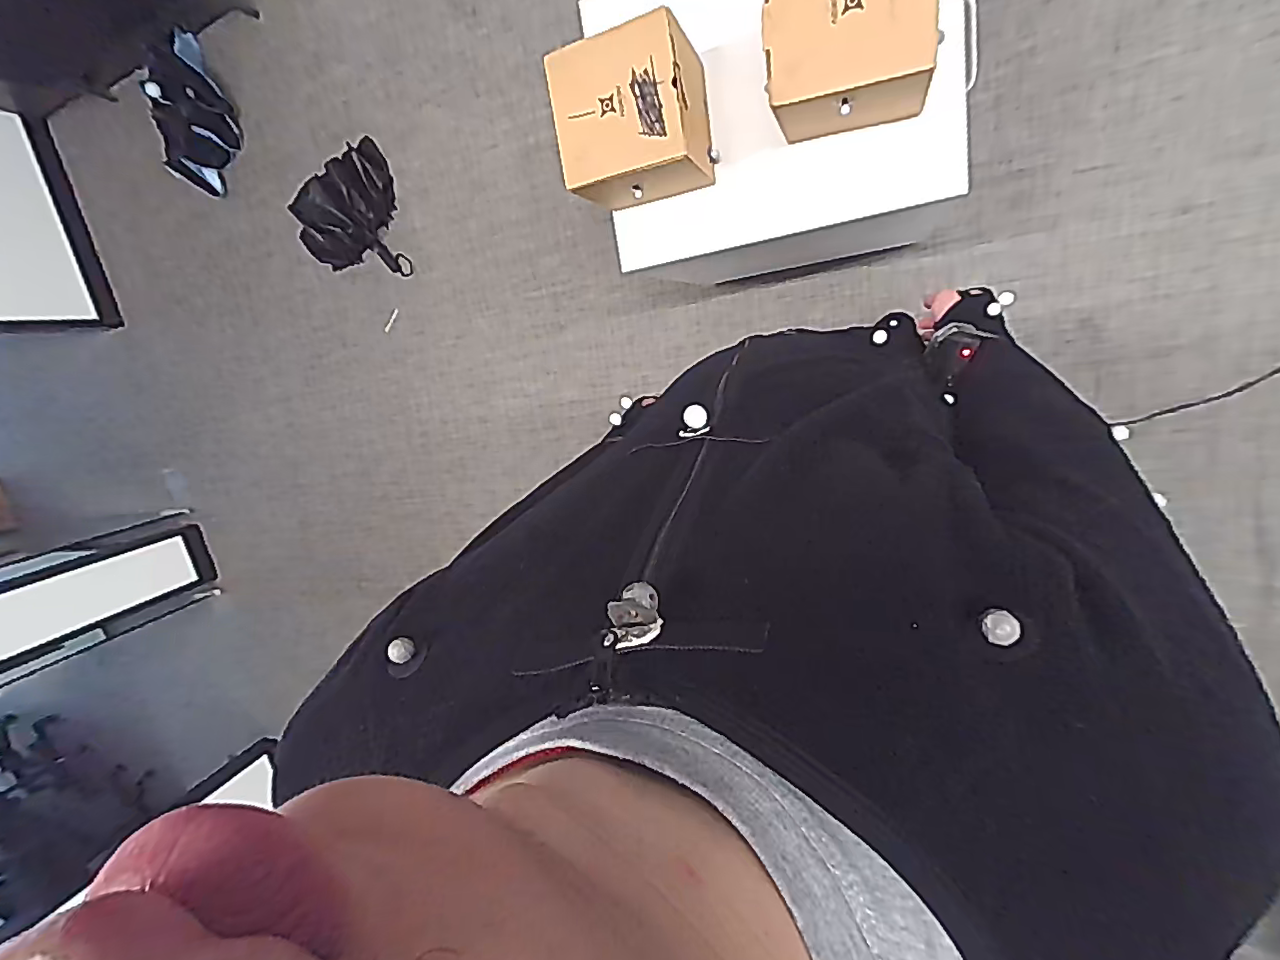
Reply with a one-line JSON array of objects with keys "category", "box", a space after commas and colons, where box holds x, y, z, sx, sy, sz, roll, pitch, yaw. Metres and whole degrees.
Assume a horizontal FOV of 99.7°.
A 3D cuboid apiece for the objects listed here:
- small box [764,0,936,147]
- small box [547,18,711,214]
[{"category": "small box", "box": [0.253, -0.529, 0.655, 0.179, 0.176, 0.168, 0, 107, 22]}, {"category": "small box", "box": [-0.003, -0.494, 0.767, 0.179, 0.176, 0.168, -3, 104, 23]}]
